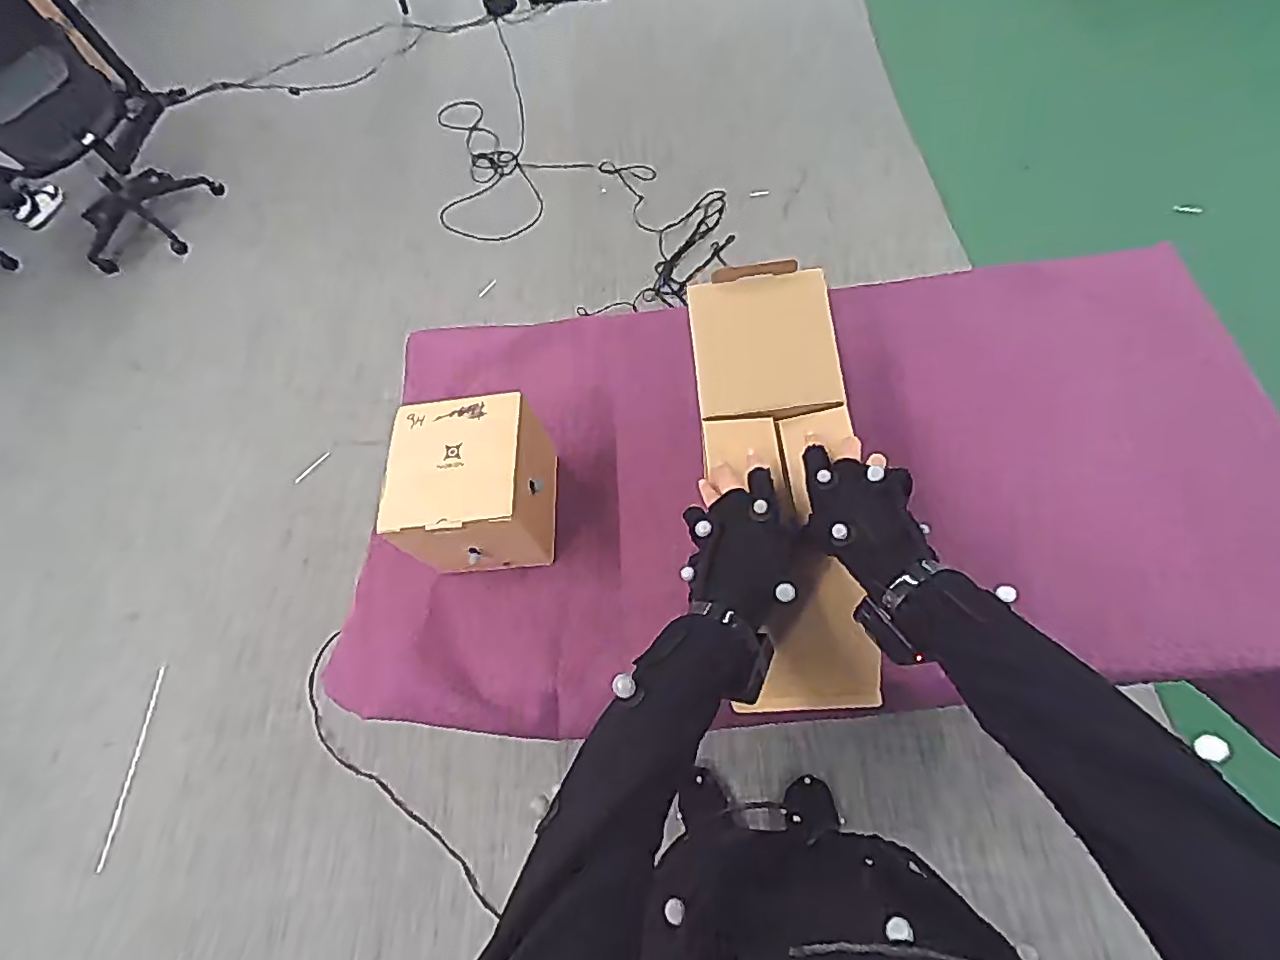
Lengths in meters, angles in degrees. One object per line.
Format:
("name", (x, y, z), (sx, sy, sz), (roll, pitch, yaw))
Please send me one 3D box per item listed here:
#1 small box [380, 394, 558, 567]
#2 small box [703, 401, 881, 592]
("small box", (-0.211, 0.011, 0.719), (0.168, 0.176, 0.179), (-6, 63, 6))
("small box", (0.167, 0.031, 0.647), (0.168, 0.176, 0.179), (-6, 63, 6))
